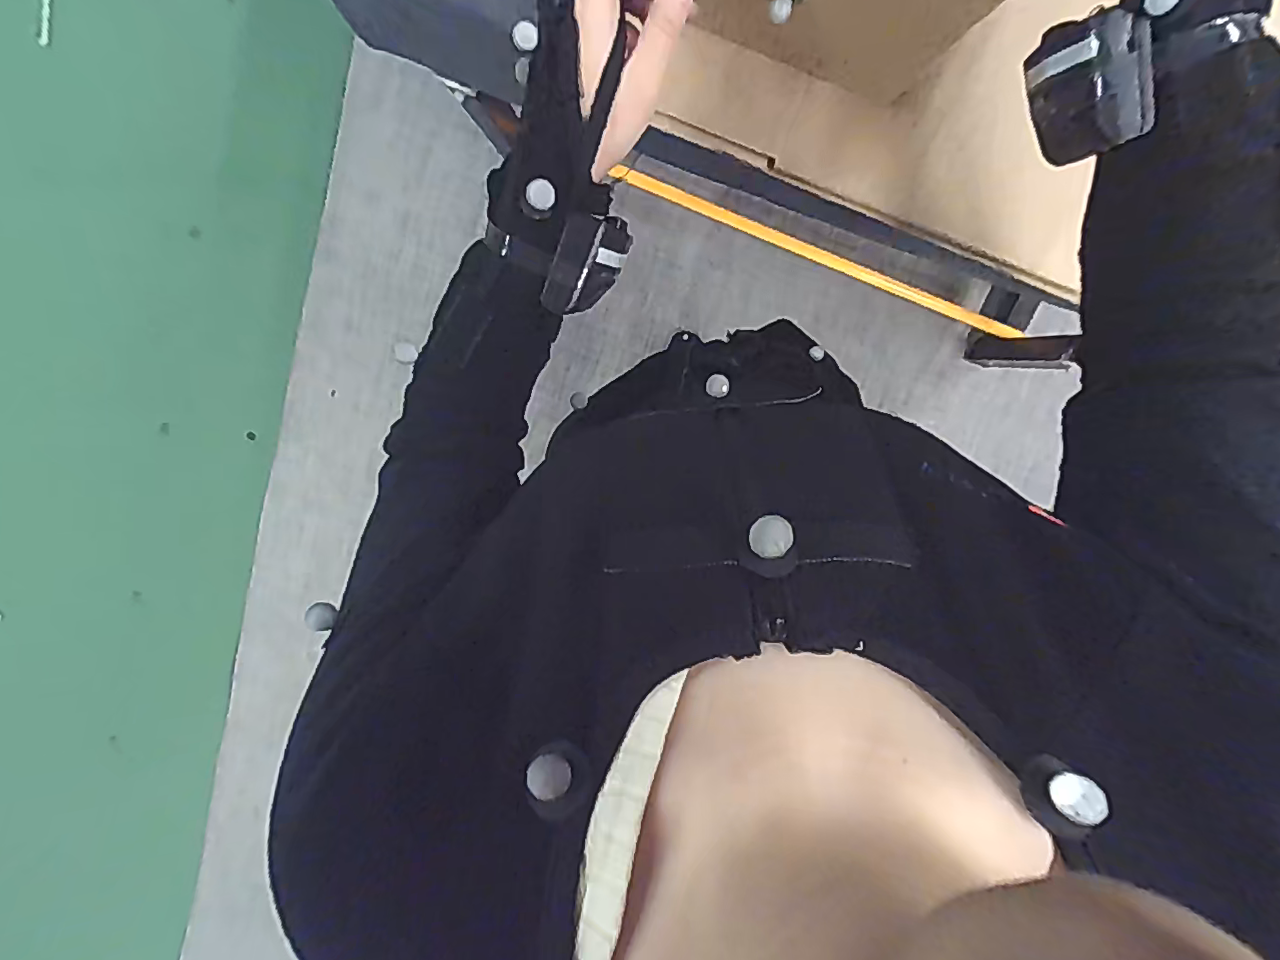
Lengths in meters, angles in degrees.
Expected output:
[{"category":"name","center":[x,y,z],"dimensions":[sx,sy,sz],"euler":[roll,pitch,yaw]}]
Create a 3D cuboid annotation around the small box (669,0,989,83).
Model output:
[{"category":"small box","center":[0.116,-0.345,0.281],"dimensions":[0.179,0.176,0.168],"euler":[21,111,-2]}]
